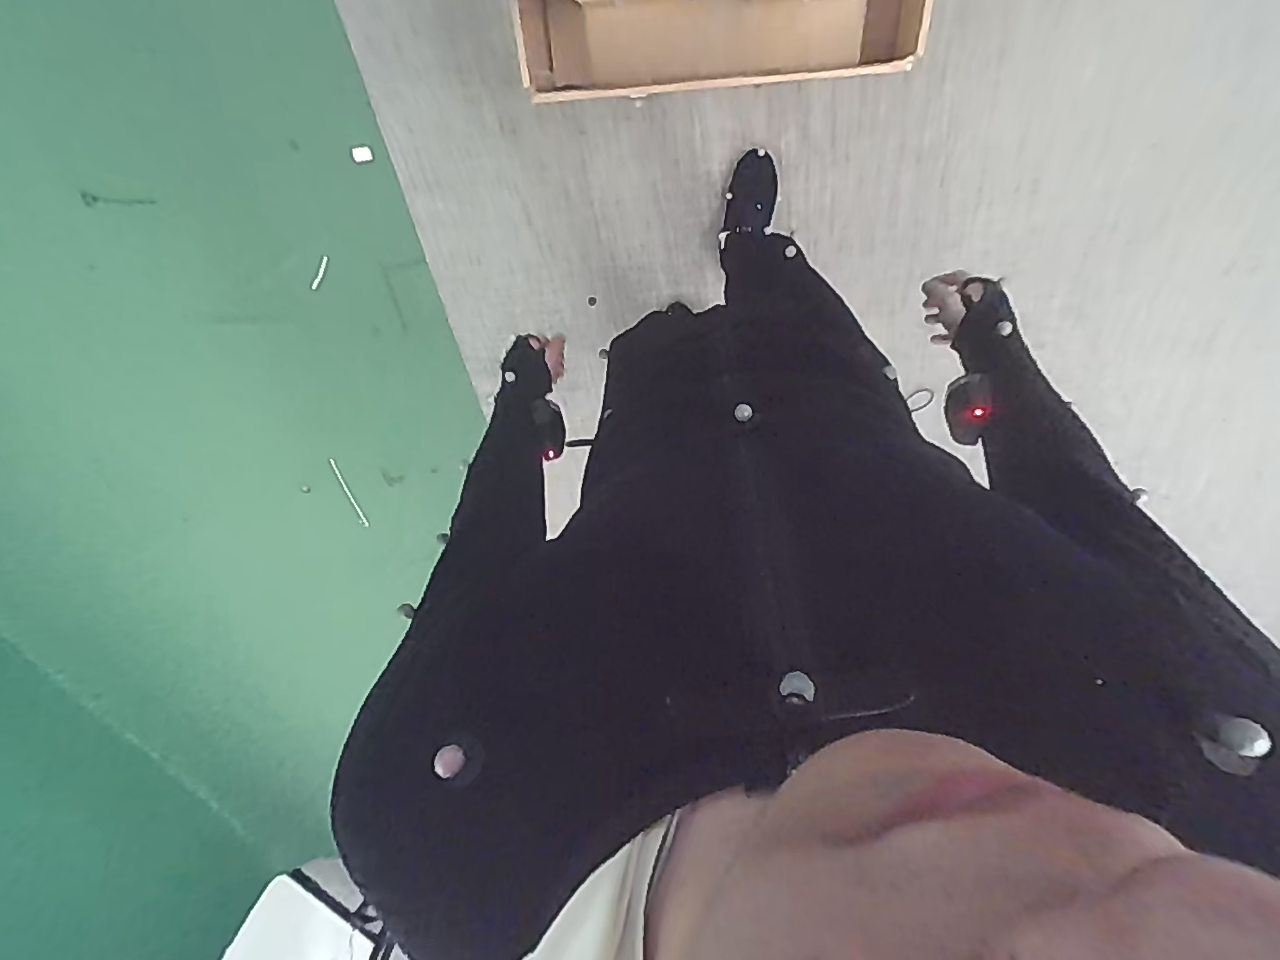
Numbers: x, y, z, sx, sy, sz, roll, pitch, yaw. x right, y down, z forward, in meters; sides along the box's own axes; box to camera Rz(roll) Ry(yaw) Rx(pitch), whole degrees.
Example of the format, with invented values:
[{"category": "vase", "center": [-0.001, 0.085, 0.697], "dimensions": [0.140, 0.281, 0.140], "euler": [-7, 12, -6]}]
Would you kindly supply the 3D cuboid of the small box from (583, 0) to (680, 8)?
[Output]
[{"category": "small box", "center": [-0.017, -0.813, 0.789], "dimensions": [0.179, 0.176, 0.168], "euler": [2, 123, 6]}]
